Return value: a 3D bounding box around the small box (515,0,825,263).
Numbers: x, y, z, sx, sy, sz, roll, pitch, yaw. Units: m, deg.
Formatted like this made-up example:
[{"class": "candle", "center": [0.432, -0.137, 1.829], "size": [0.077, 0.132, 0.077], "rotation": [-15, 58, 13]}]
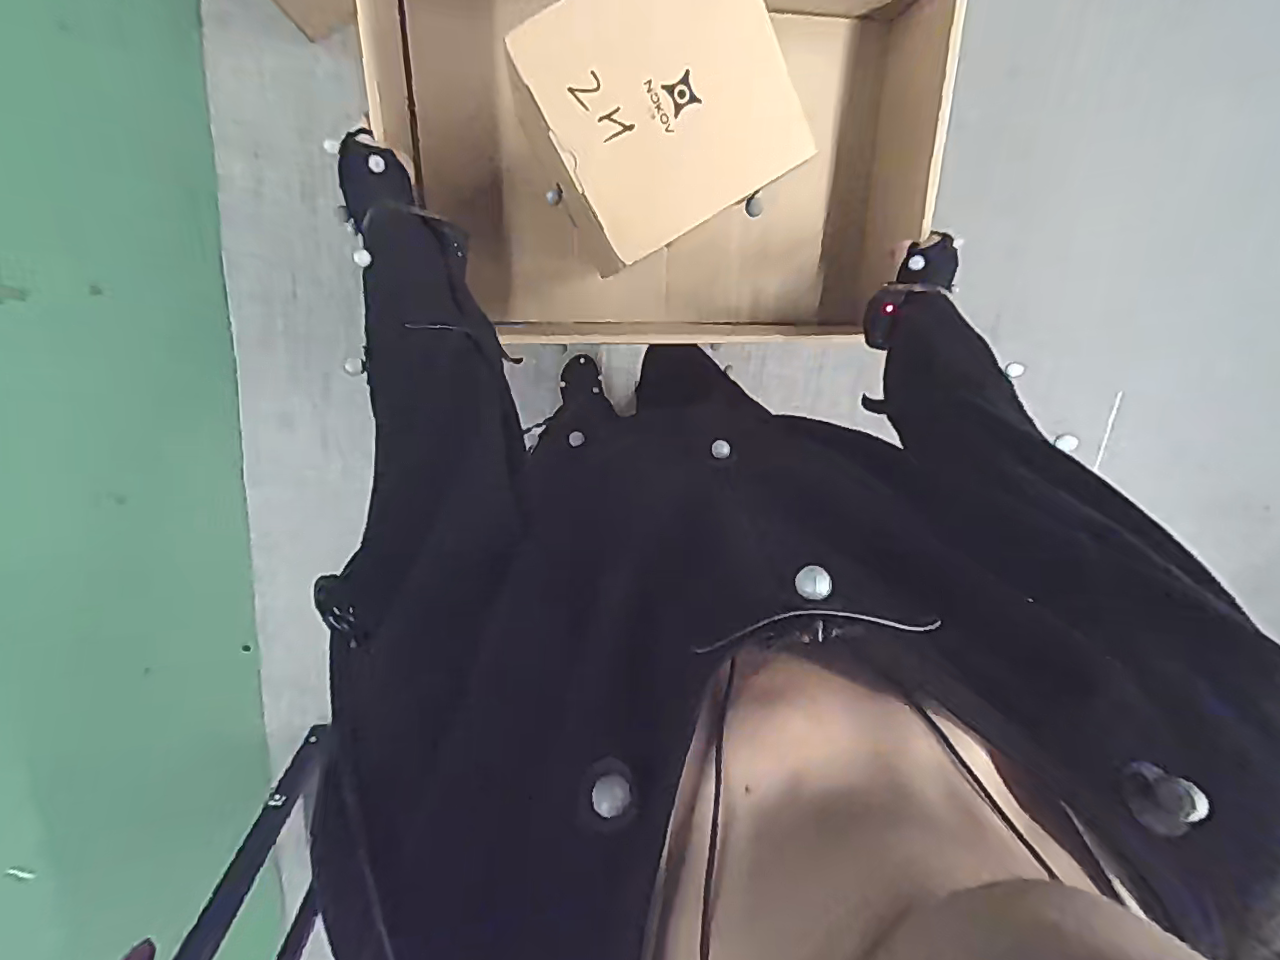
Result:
[{"class": "small box", "center": [0.015, -0.303, 0.452], "size": [0.179, 0.176, 0.168], "rotation": [-30, 109, 1]}]
